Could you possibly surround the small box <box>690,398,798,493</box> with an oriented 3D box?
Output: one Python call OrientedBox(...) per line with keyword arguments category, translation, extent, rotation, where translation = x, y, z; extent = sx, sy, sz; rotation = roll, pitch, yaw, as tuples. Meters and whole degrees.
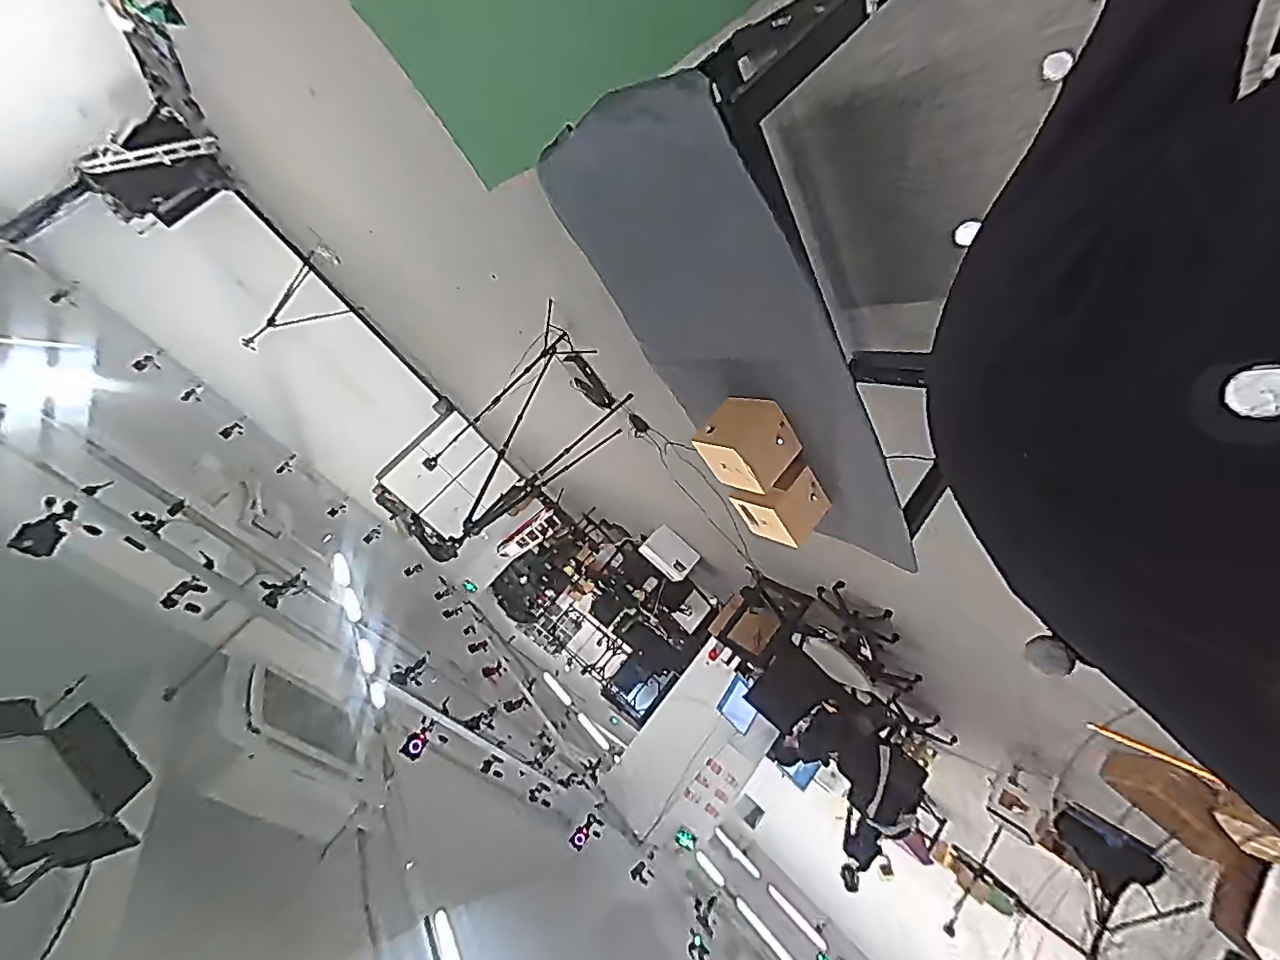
OrientedBox(category="small box", translation=(0.269, -0.095, 1.390), extent=(0.168, 0.176, 0.179), rotation=(50, 162, -30))
